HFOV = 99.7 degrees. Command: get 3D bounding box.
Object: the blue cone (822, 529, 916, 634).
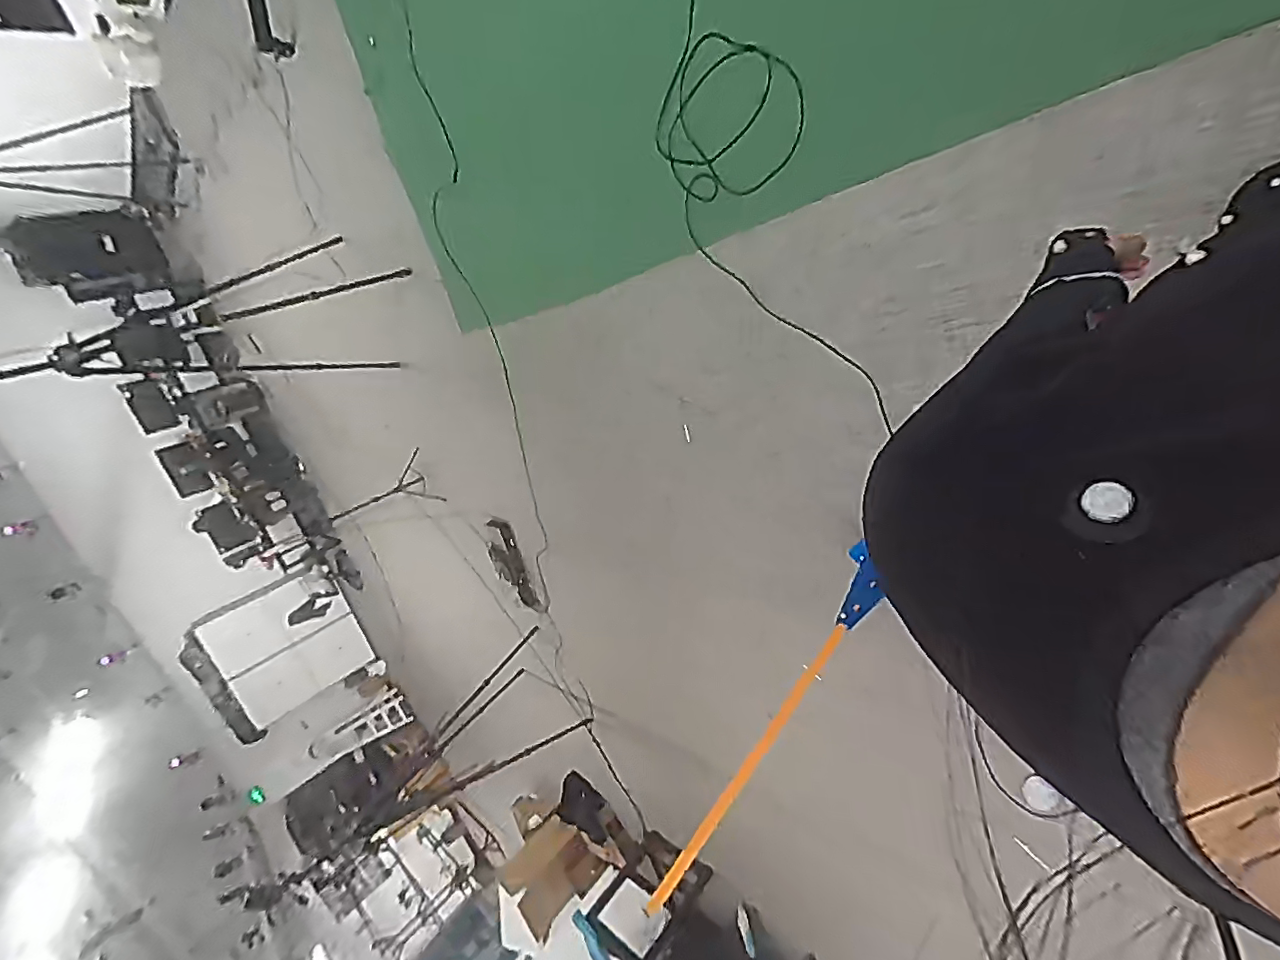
[{"bbox_3d":[0.653,0.337,1.618,0.192,0.380,0.193,42,141,17],"label":"blue cone"}]
